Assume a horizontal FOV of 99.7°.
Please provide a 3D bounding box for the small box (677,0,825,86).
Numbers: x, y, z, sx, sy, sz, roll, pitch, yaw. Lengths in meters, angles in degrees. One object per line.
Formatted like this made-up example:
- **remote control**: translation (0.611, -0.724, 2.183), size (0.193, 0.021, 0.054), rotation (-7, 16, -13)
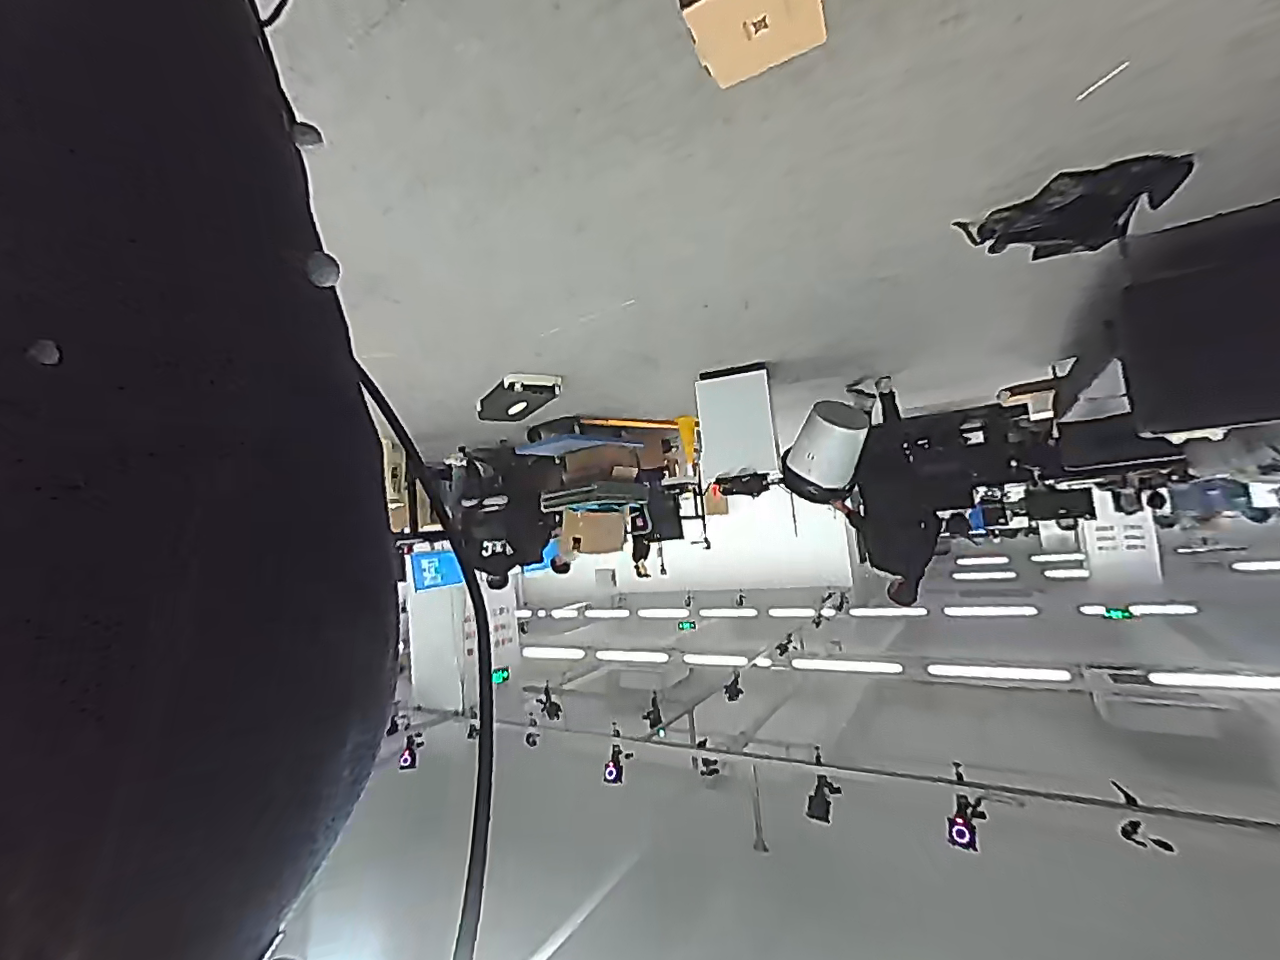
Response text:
- **small box**: translation (0.152, -0.725, 0.766), size (0.179, 0.176, 0.168), rotation (-9, 175, 26)
